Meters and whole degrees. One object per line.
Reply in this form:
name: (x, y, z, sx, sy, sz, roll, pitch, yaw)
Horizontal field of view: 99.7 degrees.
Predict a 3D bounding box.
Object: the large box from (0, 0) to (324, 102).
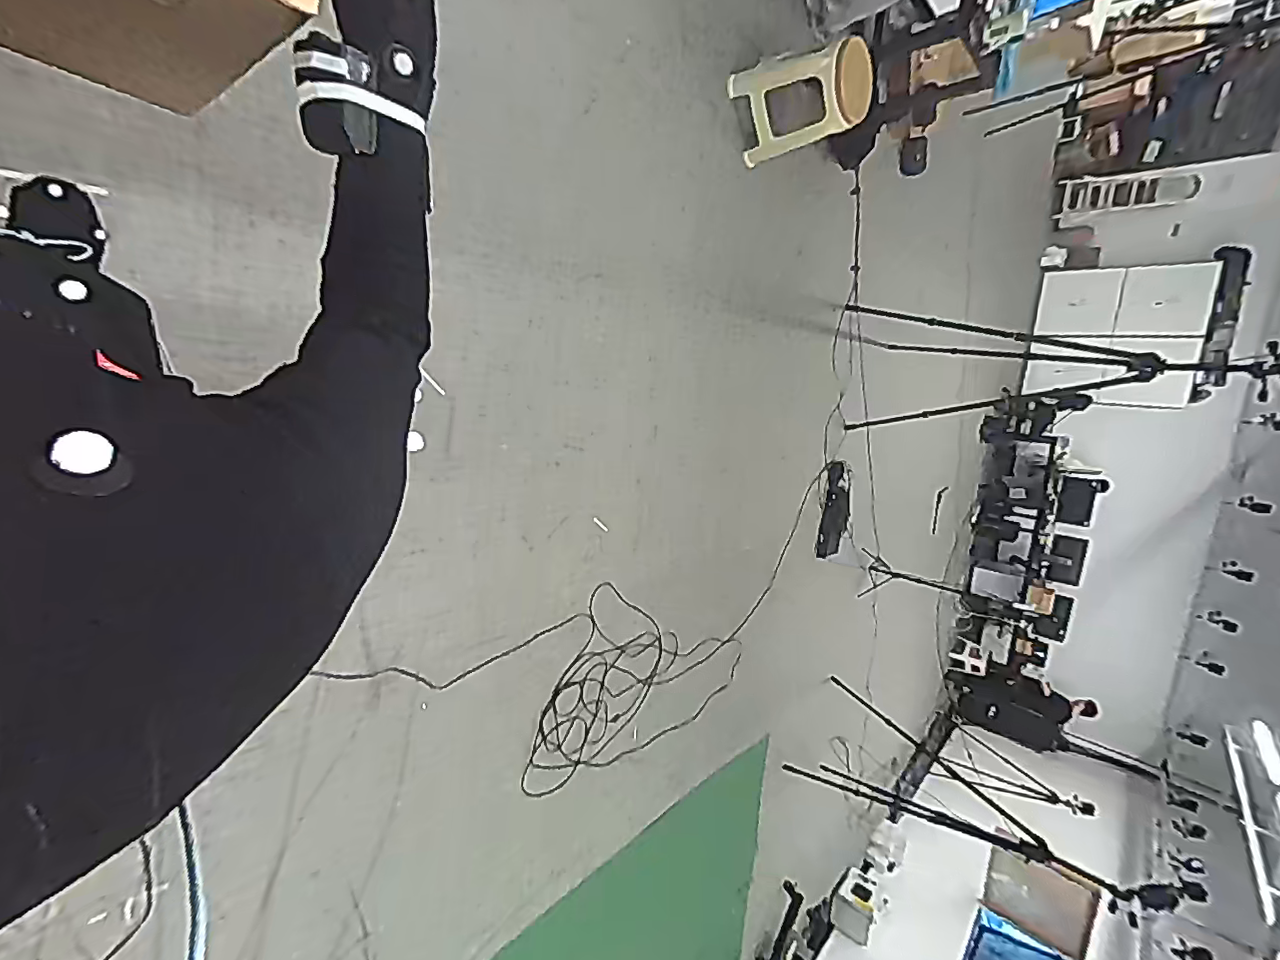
large box: (-0.432, -0.480, 0.272, 0.408, 0.320, 0.320, -5, 106, -52)
